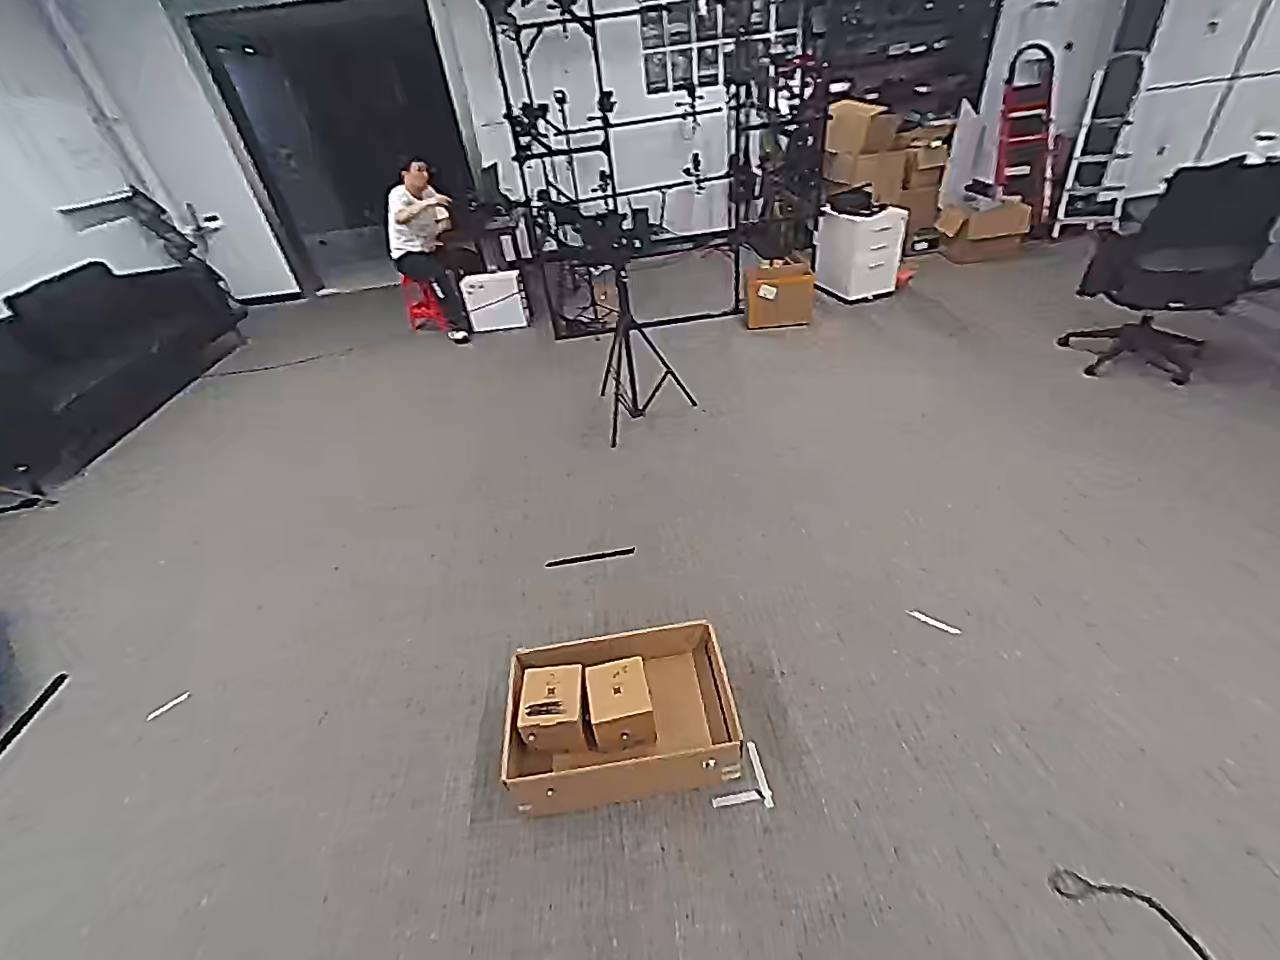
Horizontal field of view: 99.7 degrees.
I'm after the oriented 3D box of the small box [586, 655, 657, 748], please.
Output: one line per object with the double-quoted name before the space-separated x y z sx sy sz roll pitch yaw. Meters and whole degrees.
"small box" -0.053 0.633 1.531 0.168 0.176 0.179 -11 37 -5
